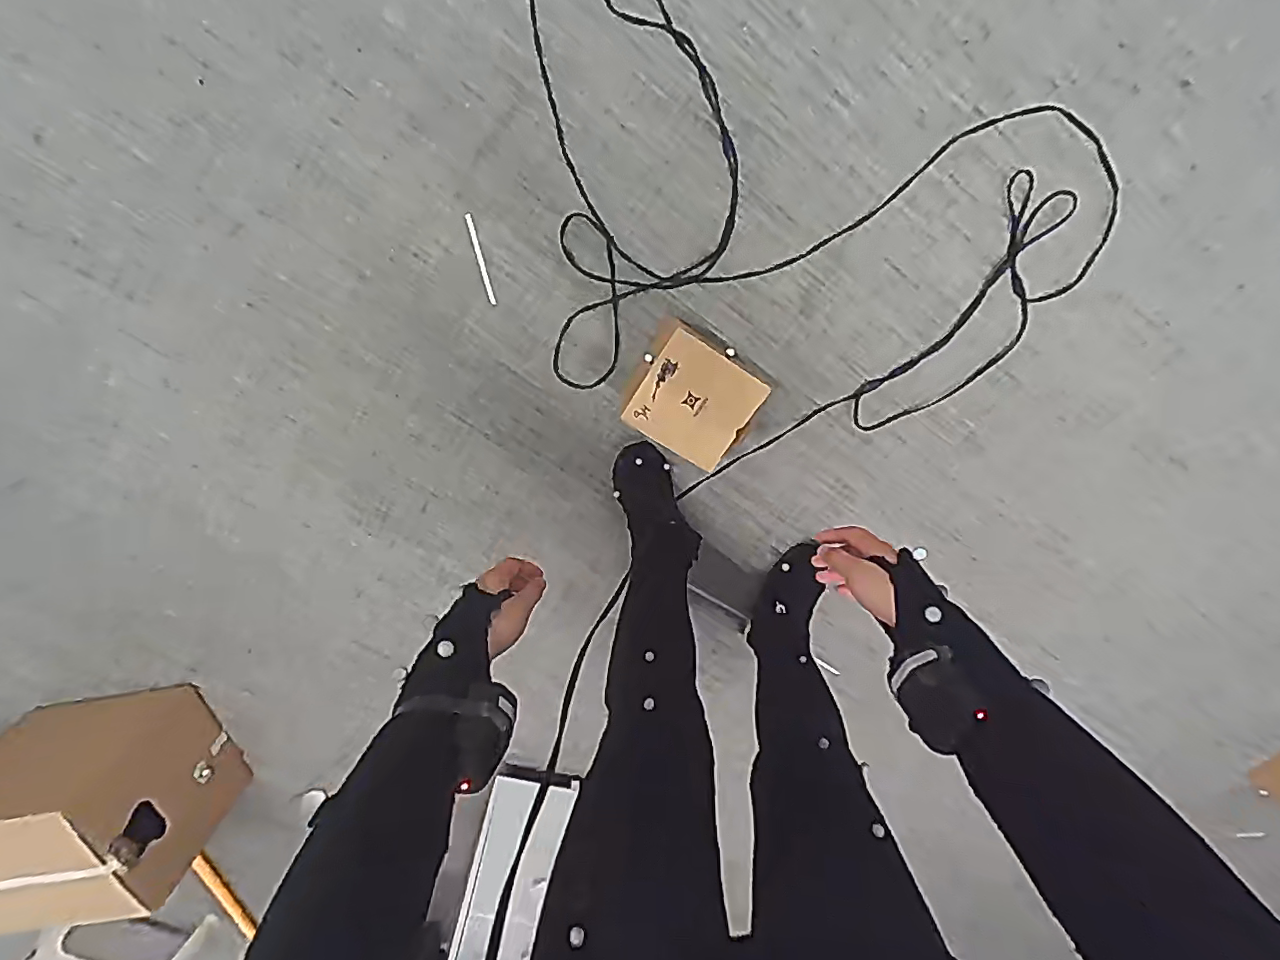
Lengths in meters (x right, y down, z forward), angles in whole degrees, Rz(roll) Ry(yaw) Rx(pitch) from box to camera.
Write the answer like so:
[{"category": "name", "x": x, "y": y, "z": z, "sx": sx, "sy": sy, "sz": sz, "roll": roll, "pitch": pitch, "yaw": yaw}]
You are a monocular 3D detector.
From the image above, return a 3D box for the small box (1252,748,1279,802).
[{"category": "small box", "x": 1.670, "y": 0.759, "z": 1.313, "sx": 0.168, "sy": 0.176, "sz": 0.179, "roll": 34, "pitch": 108, "yaw": -14}]

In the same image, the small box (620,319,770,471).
[{"category": "small box", "x": 0.082, "y": -0.149, "z": 0.896, "sx": 0.179, "sy": 0.176, "sz": 0.168, "roll": 30, "pitch": 109, "yaw": -14}]
